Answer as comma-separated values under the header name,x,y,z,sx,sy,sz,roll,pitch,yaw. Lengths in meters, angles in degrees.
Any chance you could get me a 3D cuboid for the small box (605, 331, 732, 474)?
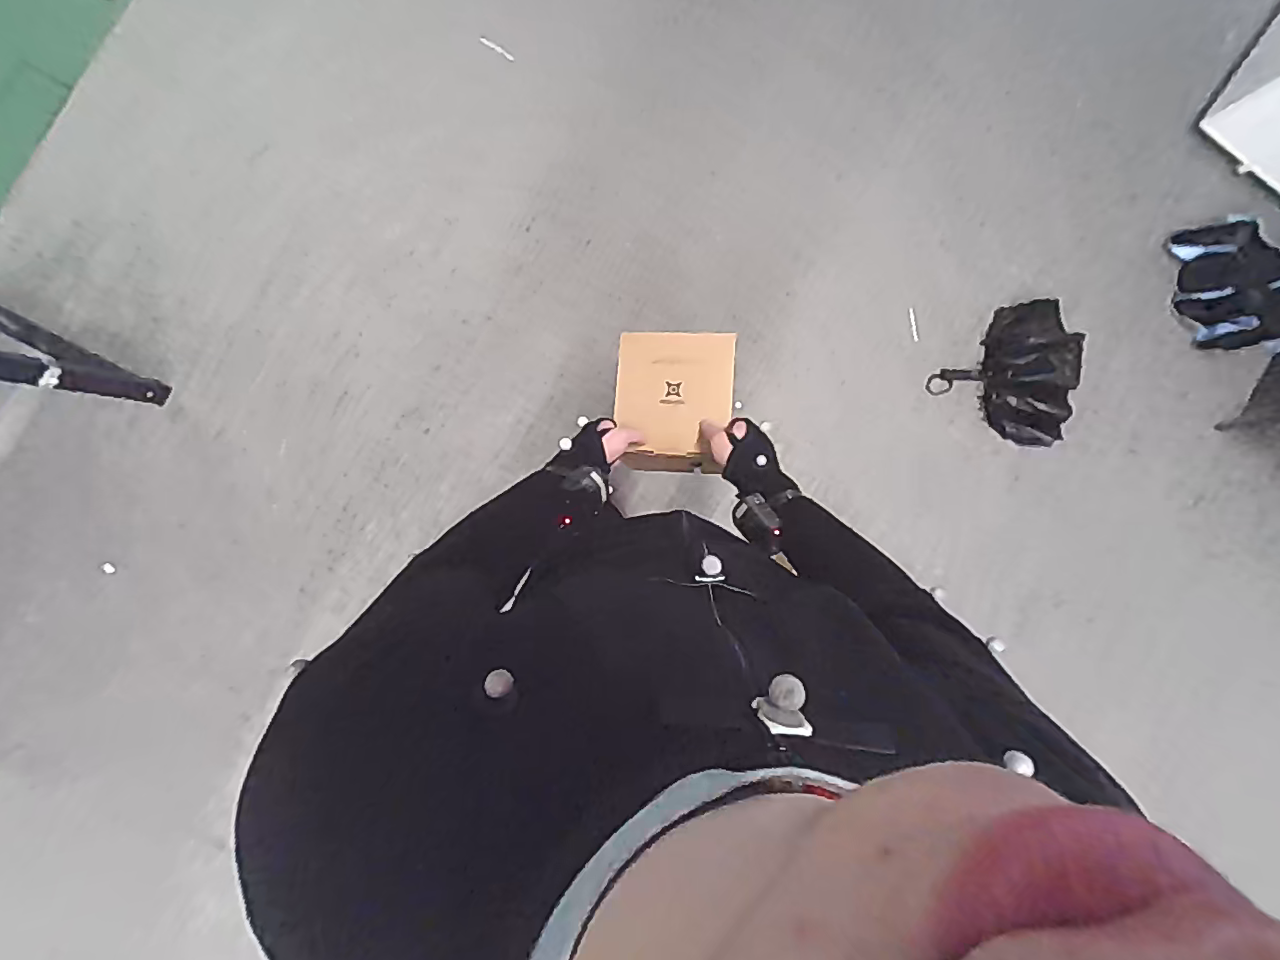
name,x,y,z,sx,sy,sz,roll,pitch,yaw
small box,0.049,-0.107,0.814,0.168,0.176,0.179,3,81,7
